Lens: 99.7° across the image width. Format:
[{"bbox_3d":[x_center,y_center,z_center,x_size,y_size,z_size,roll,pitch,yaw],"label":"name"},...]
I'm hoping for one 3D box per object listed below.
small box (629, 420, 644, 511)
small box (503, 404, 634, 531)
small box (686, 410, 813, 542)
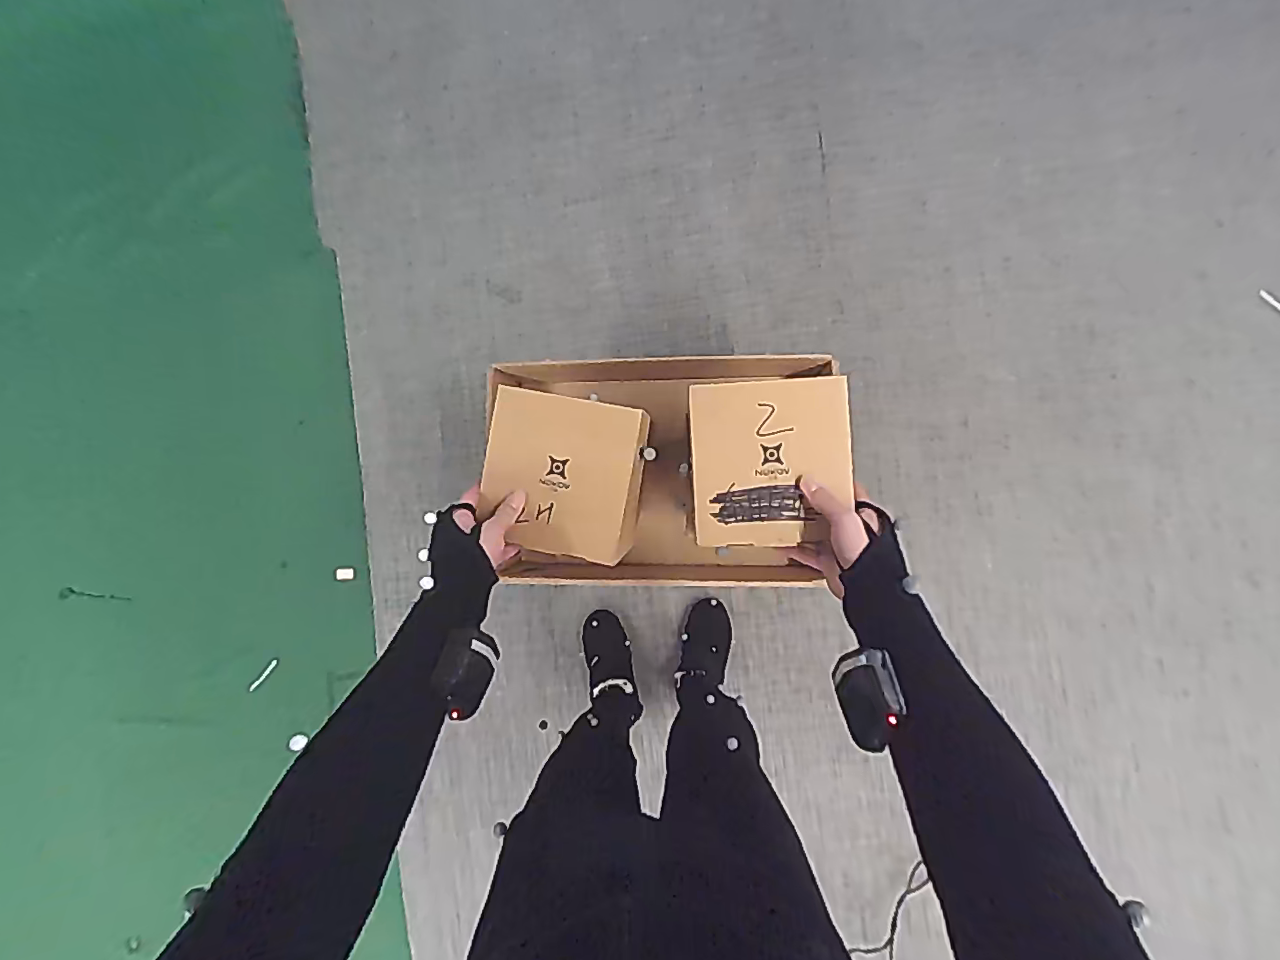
[{"bbox_3d":[-0.091,-0.022,0.994,0.179,0.176,0.168,2,90,6],"label":"small box"},{"bbox_3d":[-0.102,-0.018,0.830,0.168,0.176,0.179,1,91,7],"label":"small box"},{"bbox_3d":[0.154,-0.006,0.800,0.168,0.176,0.179,1,89,6],"label":"small box"}]
